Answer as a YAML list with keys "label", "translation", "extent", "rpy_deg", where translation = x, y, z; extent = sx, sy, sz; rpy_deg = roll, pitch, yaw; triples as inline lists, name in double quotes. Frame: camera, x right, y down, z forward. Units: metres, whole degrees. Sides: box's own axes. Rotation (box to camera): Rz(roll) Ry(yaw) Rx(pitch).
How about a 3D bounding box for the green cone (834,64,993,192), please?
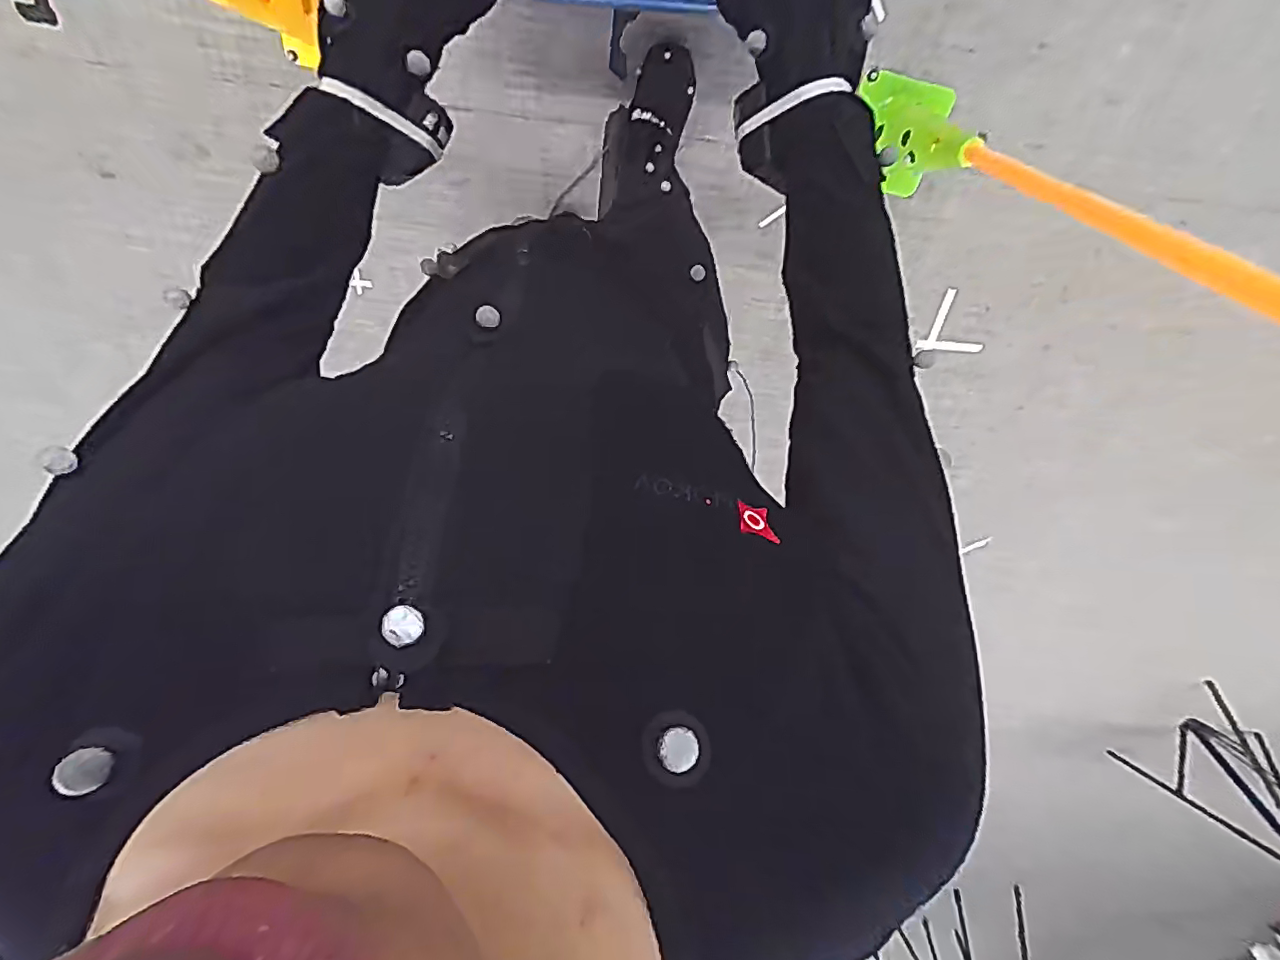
- label: "green cone"
  translation: [0.529, -0.626, 0.993]
  extent: [0.202, 0.368, 0.200]
  rpy_deg: [8, 127, -7]
